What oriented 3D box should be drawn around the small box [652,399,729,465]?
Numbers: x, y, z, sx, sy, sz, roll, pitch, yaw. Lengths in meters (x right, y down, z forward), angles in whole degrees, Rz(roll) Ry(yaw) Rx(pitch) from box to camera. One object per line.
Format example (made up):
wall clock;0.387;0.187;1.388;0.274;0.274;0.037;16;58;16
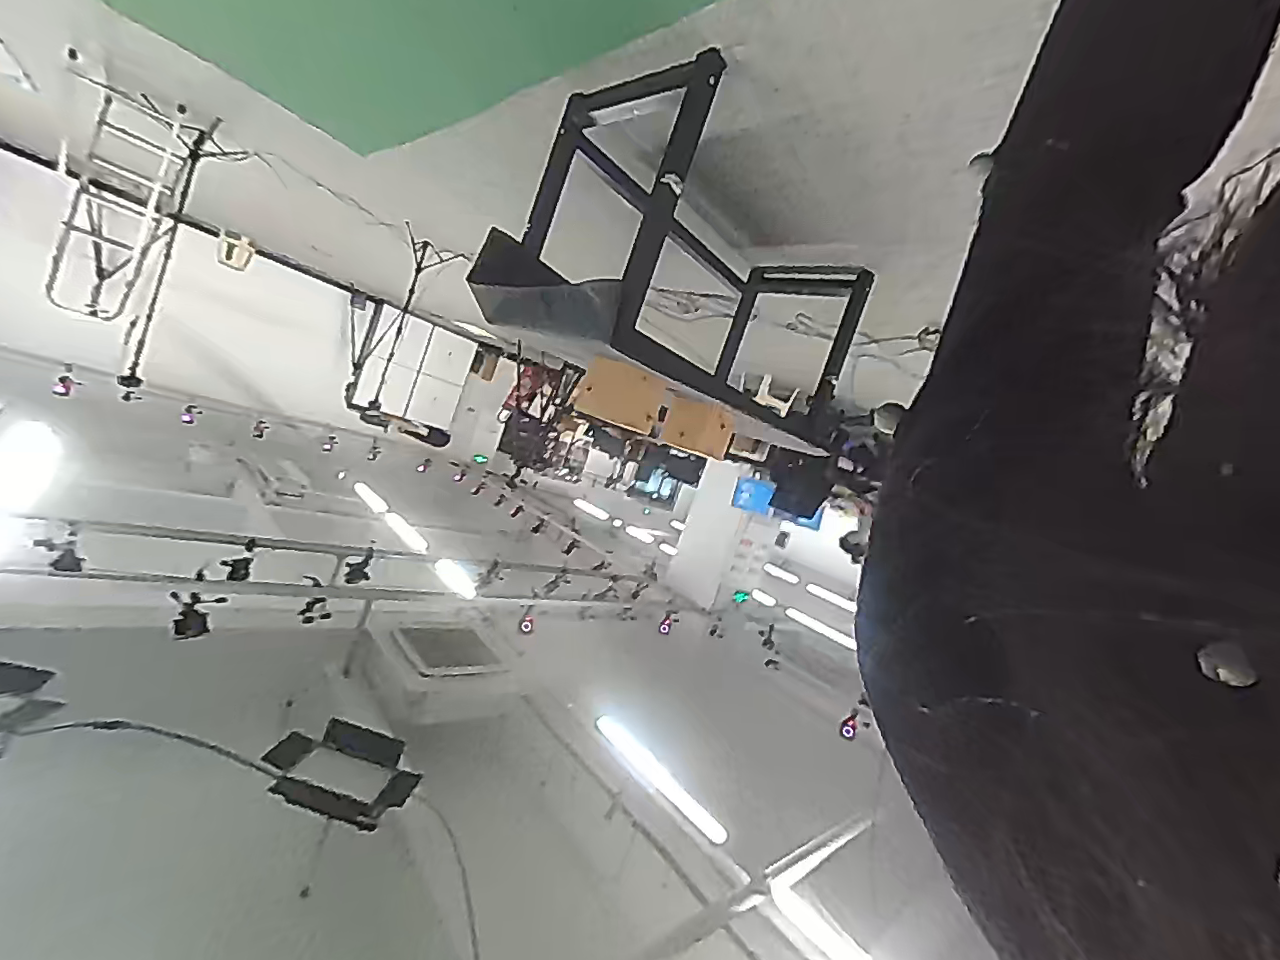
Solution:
small box;0.175;-0.167;1.846;0.179;0.176;0.168;20;-177;41
